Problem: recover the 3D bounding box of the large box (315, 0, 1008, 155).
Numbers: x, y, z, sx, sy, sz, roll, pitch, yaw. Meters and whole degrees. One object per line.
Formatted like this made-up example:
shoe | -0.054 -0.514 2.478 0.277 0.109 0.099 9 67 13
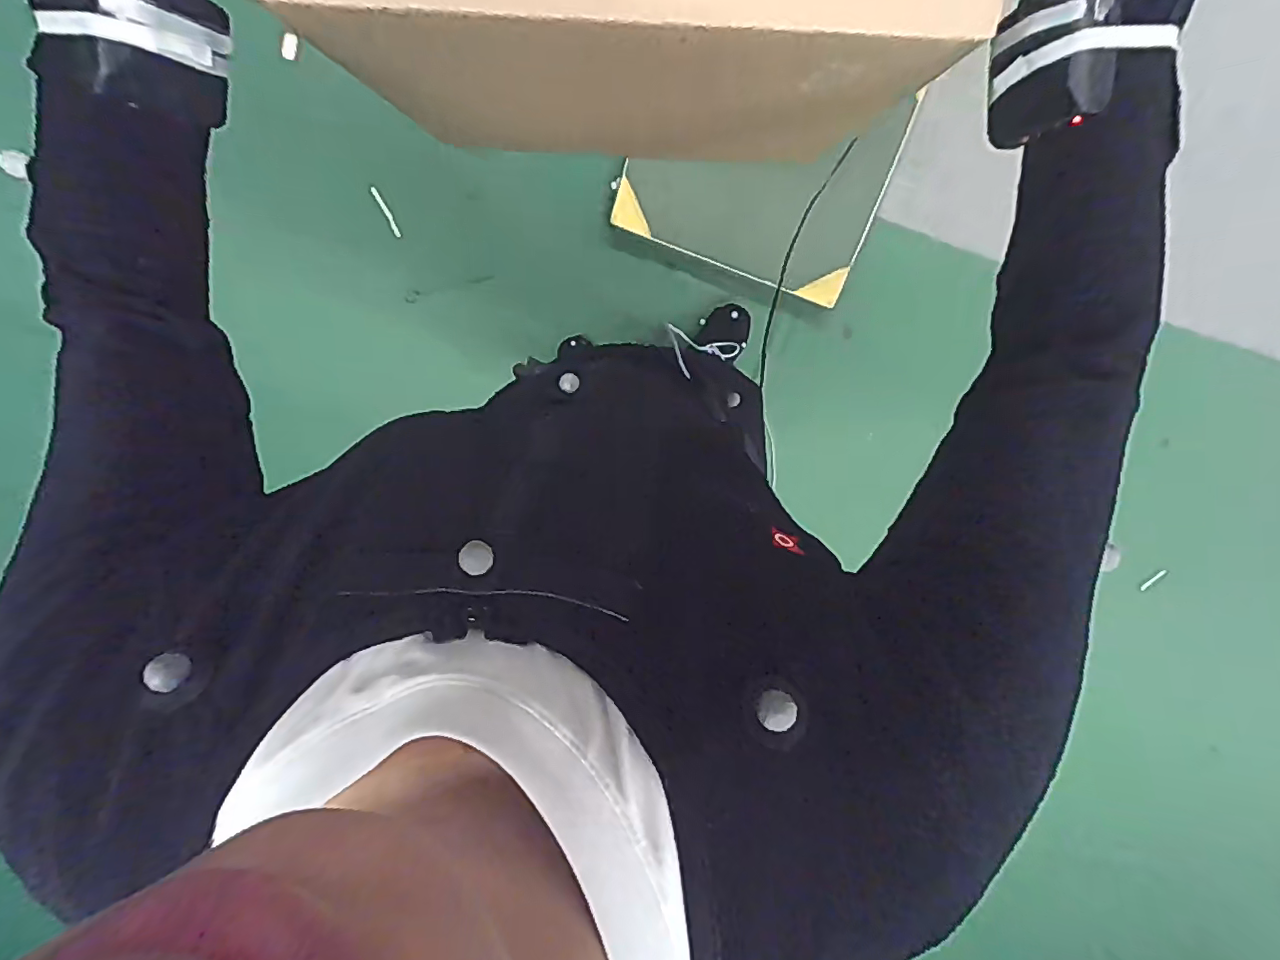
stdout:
large box | 0.008 -0.452 0.390 0.408 0.320 0.320 2 110 -2
